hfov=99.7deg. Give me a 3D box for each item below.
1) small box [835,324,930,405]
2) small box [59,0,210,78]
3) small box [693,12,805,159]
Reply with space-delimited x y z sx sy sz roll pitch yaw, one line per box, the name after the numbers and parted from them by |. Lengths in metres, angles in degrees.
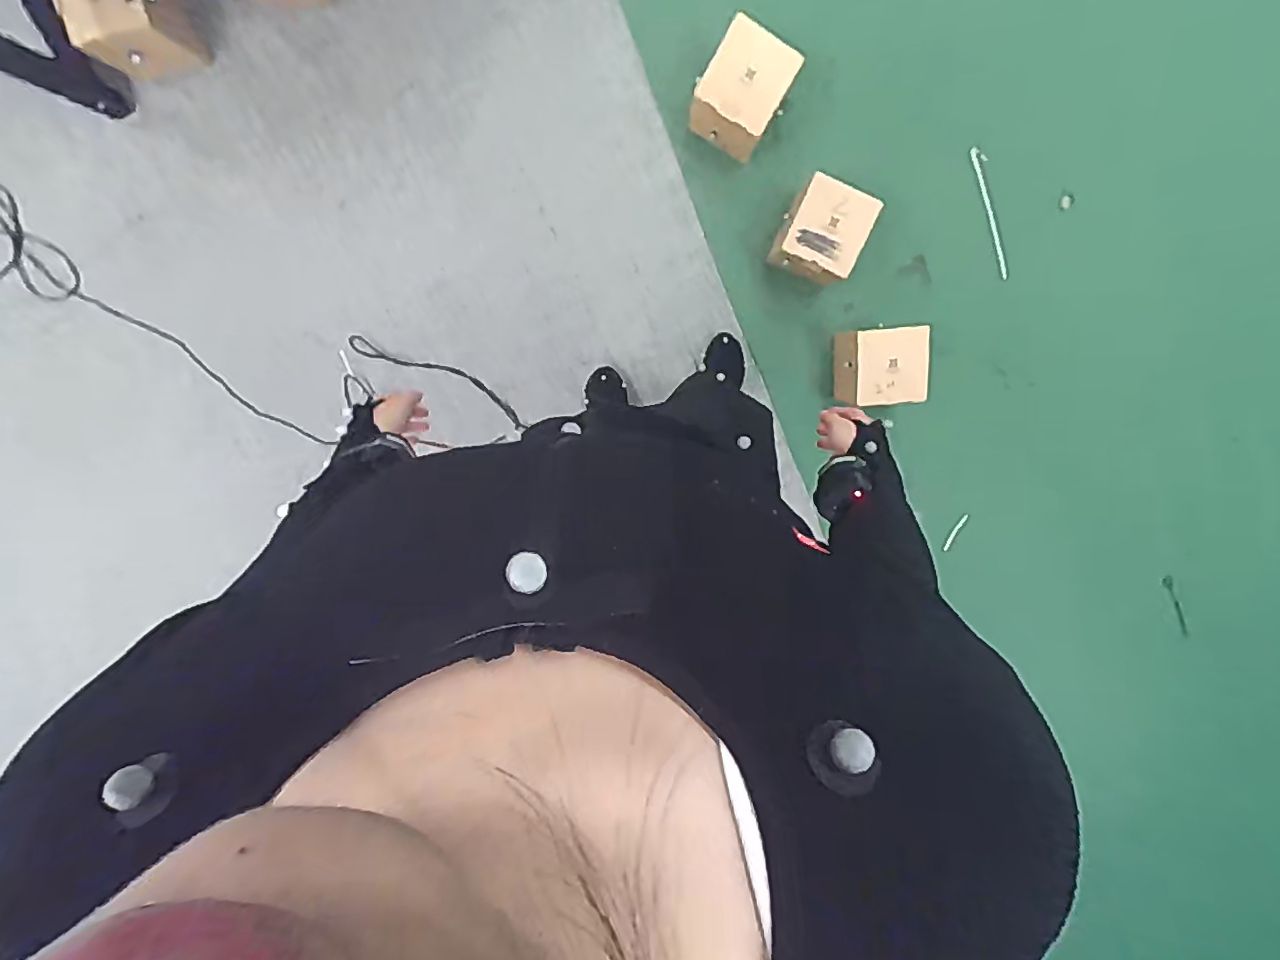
0.588 -0.285 1.332 0.168 0.176 0.179 -4 104 3 | small box
-1.110 -1.023 1.184 0.179 0.176 0.168 -11 104 5 | small box
0.230 -0.859 1.199 0.168 0.176 0.179 30 103 -6 | small box
